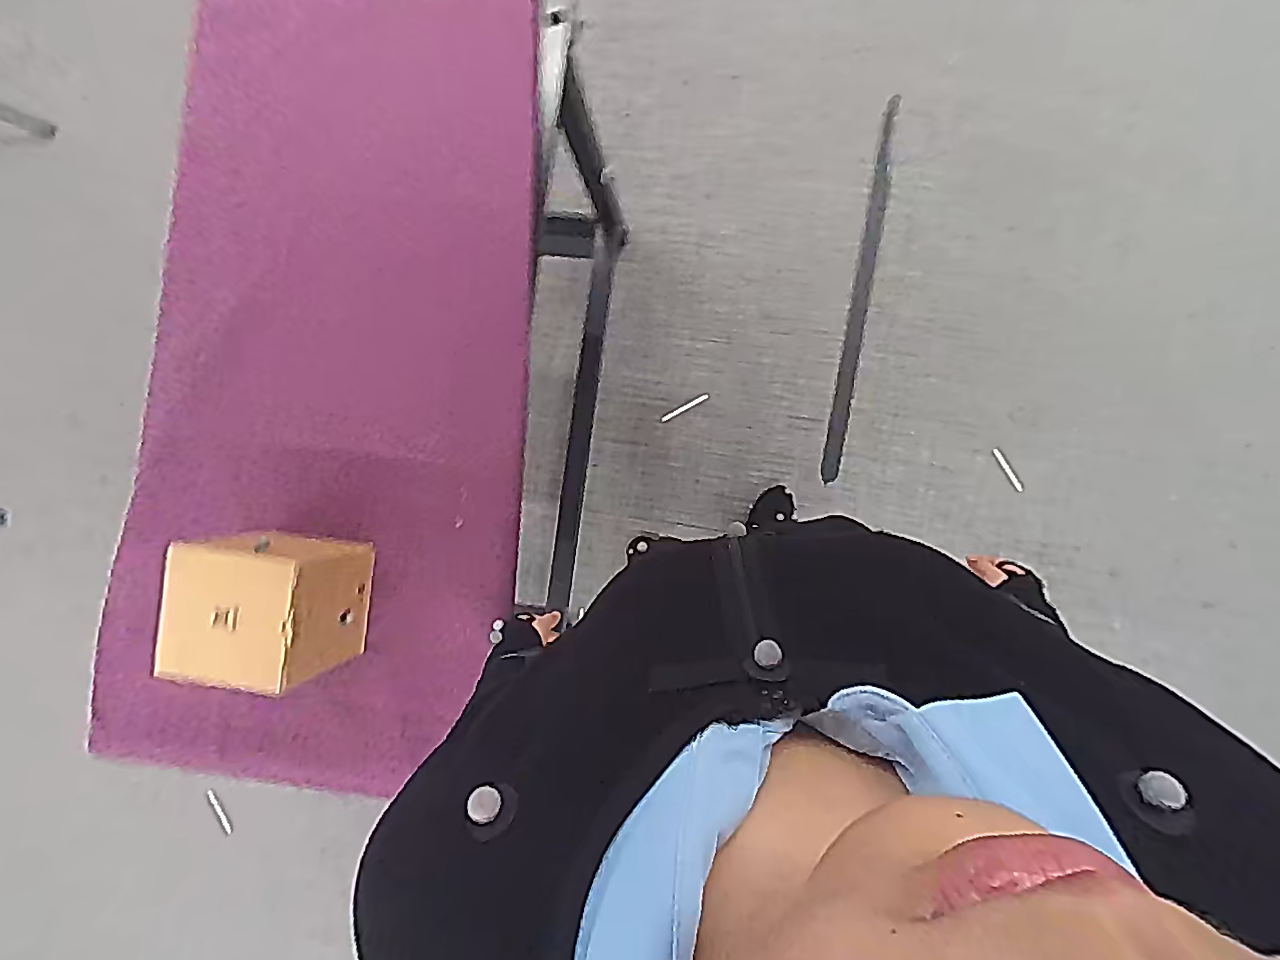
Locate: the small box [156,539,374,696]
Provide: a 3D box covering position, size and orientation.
[{"bbox_3d":[-0.506,0.177,0.752,0.179,0.176,0.168,6,90,5],"label":"small box"}]
